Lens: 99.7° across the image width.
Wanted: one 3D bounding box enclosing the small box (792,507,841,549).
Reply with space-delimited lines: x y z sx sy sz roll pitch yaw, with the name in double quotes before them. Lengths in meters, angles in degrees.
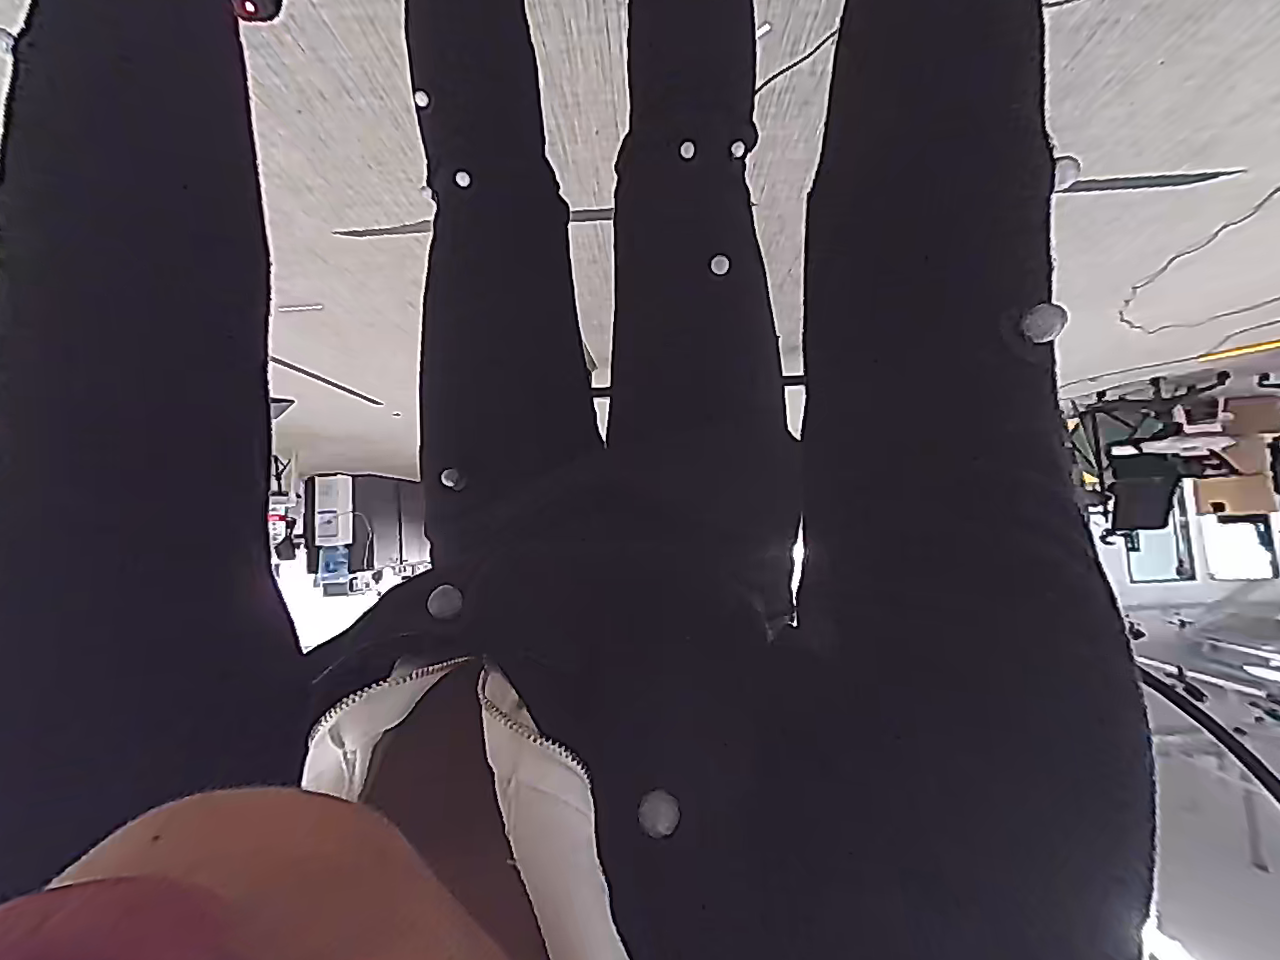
"small box" 0.747 0.203 2.309 0.168 0.176 0.179 -2 176 6
